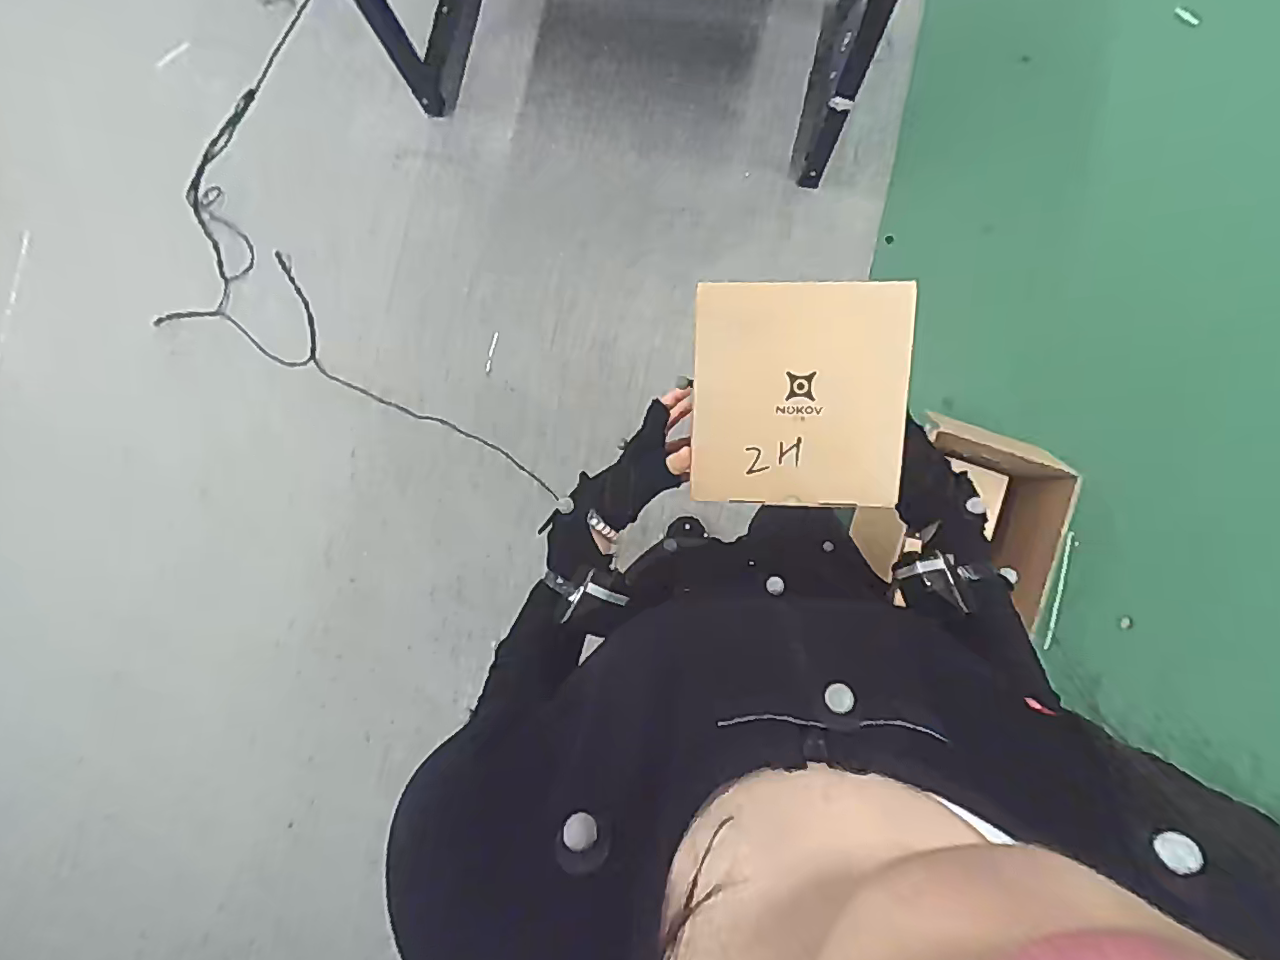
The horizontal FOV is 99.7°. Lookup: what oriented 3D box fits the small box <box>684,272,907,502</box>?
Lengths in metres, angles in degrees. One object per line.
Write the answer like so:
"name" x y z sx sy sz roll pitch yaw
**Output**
"small box" 0.125 -0.081 0.499 0.168 0.176 0.179 1 99 6
